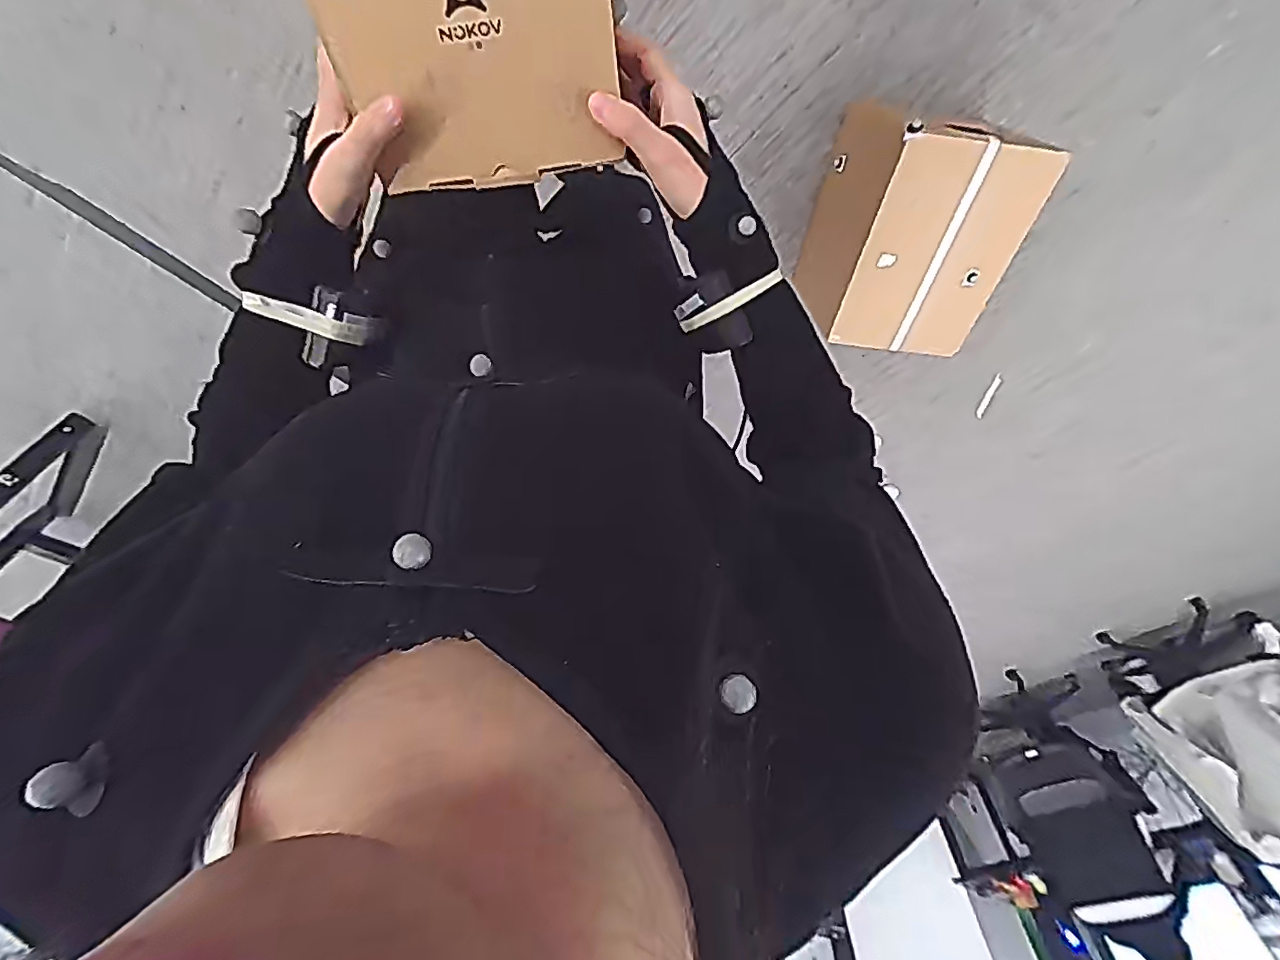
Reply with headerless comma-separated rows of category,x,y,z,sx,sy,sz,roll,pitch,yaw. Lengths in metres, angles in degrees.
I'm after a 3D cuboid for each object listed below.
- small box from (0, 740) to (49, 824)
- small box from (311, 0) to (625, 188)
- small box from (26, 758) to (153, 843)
small box,-1.650,0.767,1.350,0.179,0.176,0.168,-36,126,25
small box,-0.103,-0.321,0.352,0.168,0.176,0.179,-8,137,0
small box,-1.476,0.874,1.461,0.179,0.176,0.168,-36,125,26
